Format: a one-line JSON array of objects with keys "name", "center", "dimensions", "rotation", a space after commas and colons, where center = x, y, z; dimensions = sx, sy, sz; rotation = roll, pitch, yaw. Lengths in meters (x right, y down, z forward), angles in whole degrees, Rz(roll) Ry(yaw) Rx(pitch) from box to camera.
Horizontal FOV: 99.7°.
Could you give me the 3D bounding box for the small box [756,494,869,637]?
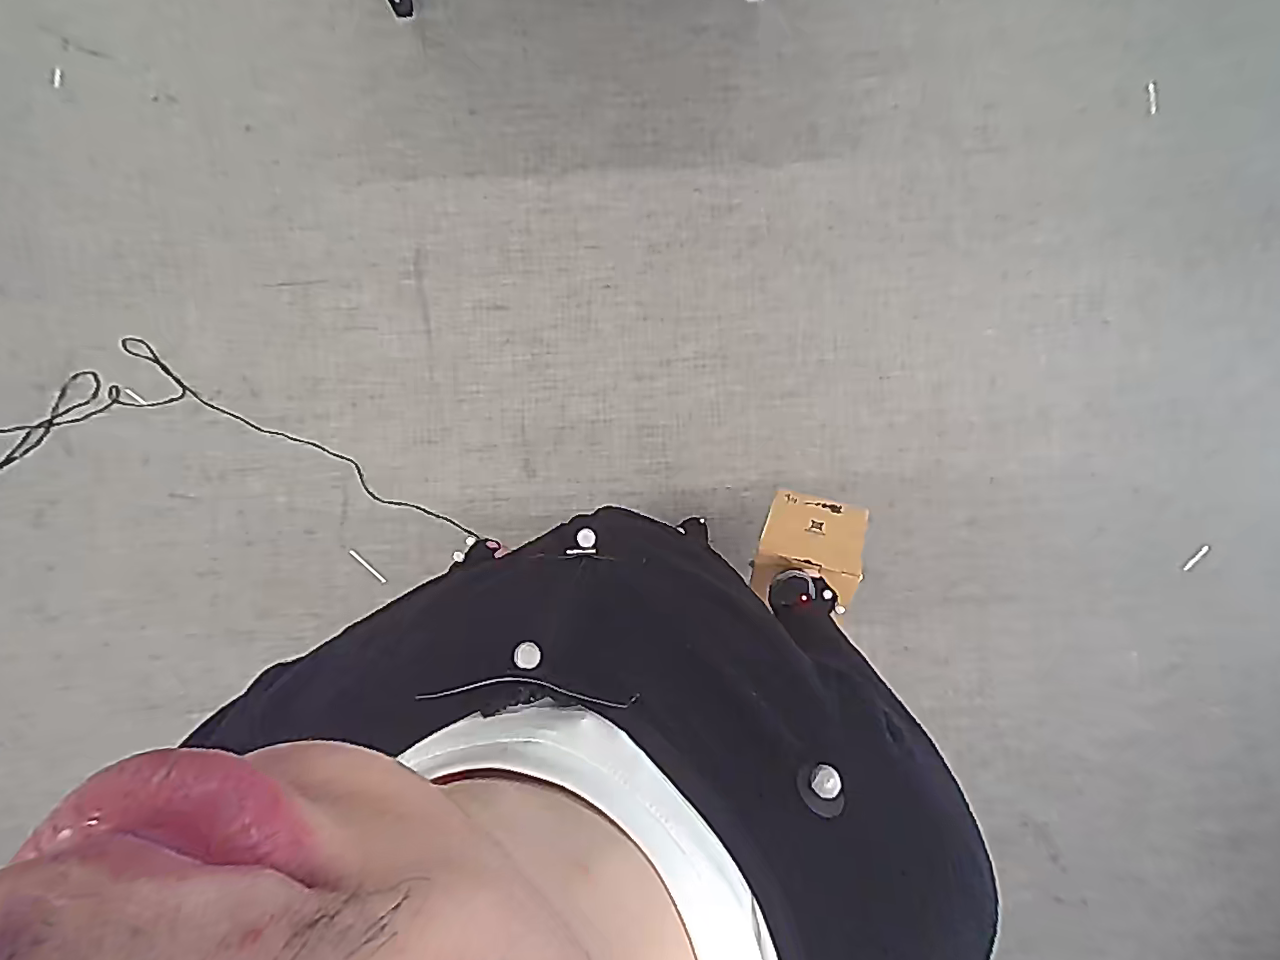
[{"name": "small box", "center": [0.309, 0.154, 0.979], "dimensions": [0.168, 0.179, 0.176], "rotation": [11, 130, 18]}]
